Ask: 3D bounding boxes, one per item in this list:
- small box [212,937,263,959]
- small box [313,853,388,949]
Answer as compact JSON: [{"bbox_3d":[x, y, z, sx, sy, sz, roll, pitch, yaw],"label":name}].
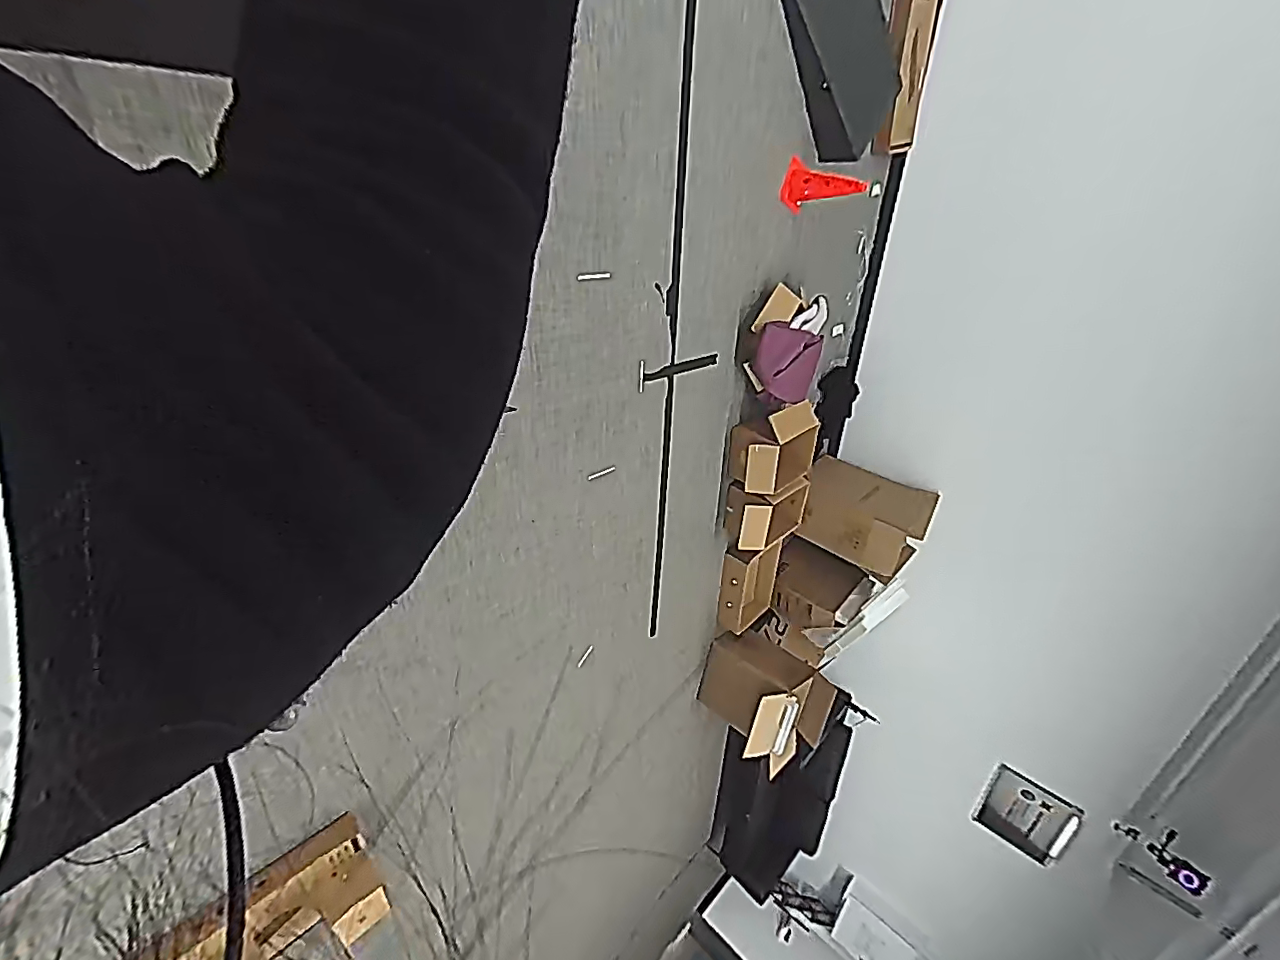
[{"bbox_3d":[-1.244,1.557,1.646,0.168,0.176,0.179,-27,130,-39],"label":"small box"},{"bbox_3d":[-1.000,1.446,1.869,0.168,0.176,0.179,-25,129,-40],"label":"small box"}]
